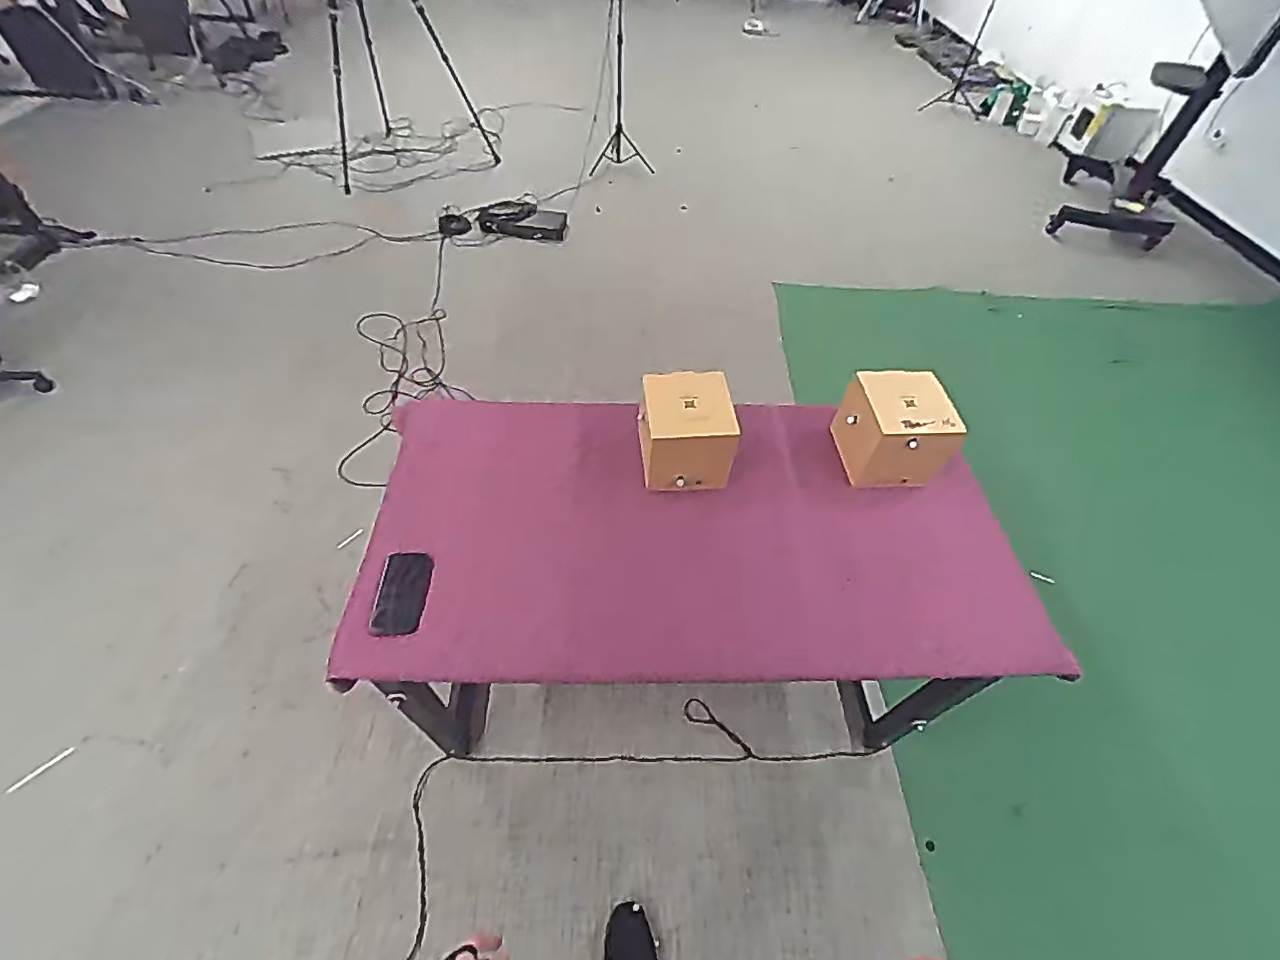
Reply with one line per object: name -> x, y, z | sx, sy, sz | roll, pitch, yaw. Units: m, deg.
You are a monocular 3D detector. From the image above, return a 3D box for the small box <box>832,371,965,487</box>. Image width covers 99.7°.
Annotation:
small box -> 0.516, -0.104, 1.113 | 0.168, 0.176, 0.179 | -1, 51, -3

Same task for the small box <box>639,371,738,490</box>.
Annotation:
small box -> 0.087, -0.099, 1.086 | 0.168, 0.176, 0.179 | -3, 52, -4
